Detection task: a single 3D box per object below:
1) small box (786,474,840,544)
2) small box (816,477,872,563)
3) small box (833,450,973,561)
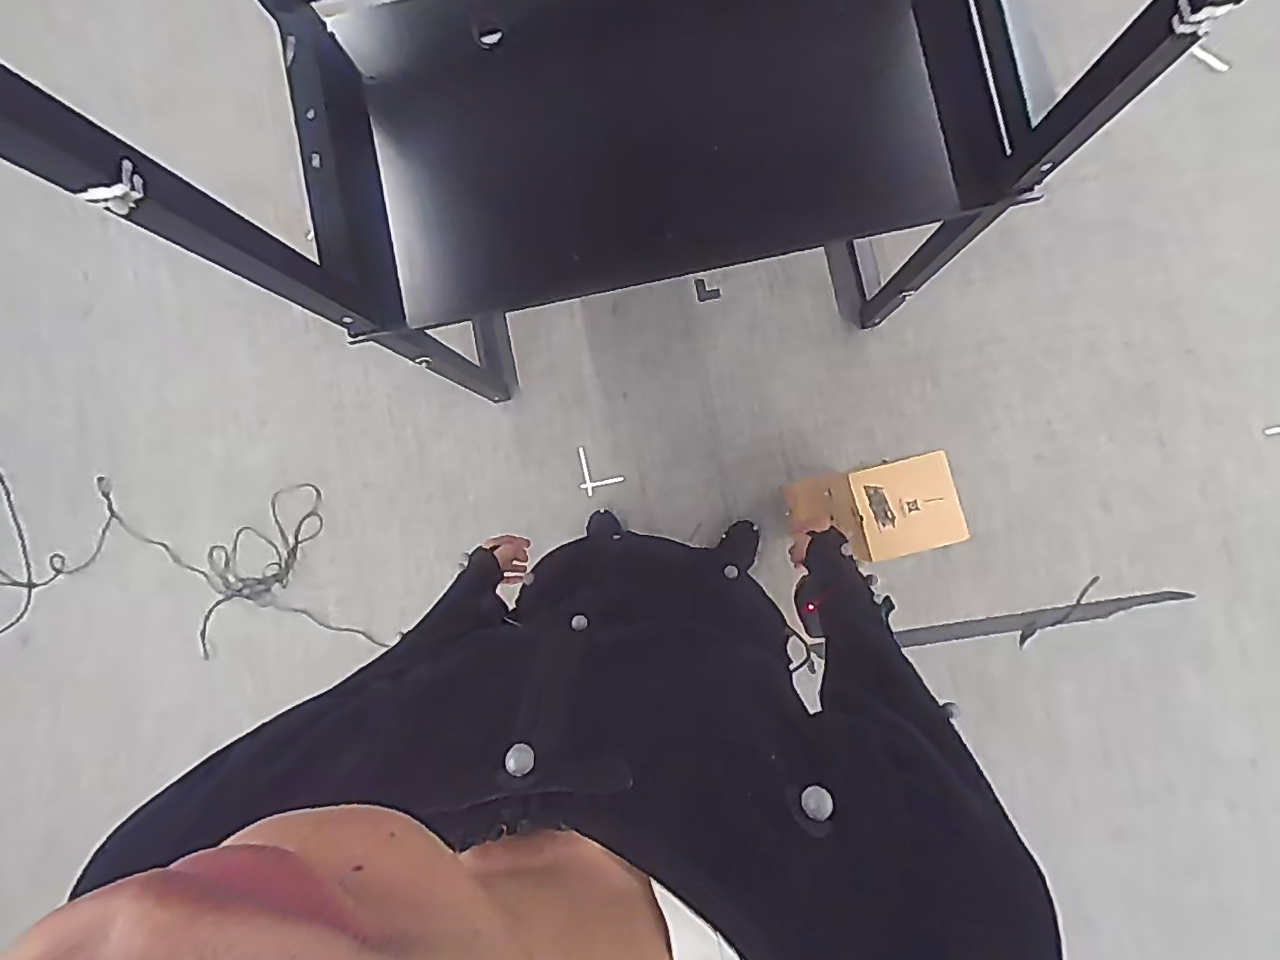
[{"bbox_3d":[0.525,0.076,1.513,0.179,0.176,0.168,-13,87,5],"label":"small box"},{"bbox_3d":[0.502,0.070,1.187,0.168,0.176,0.179,-14,87,5],"label":"small box"},{"bbox_3d":[0.482,0.049,1.025,0.179,0.176,0.168,-15,87,4],"label":"small box"}]
